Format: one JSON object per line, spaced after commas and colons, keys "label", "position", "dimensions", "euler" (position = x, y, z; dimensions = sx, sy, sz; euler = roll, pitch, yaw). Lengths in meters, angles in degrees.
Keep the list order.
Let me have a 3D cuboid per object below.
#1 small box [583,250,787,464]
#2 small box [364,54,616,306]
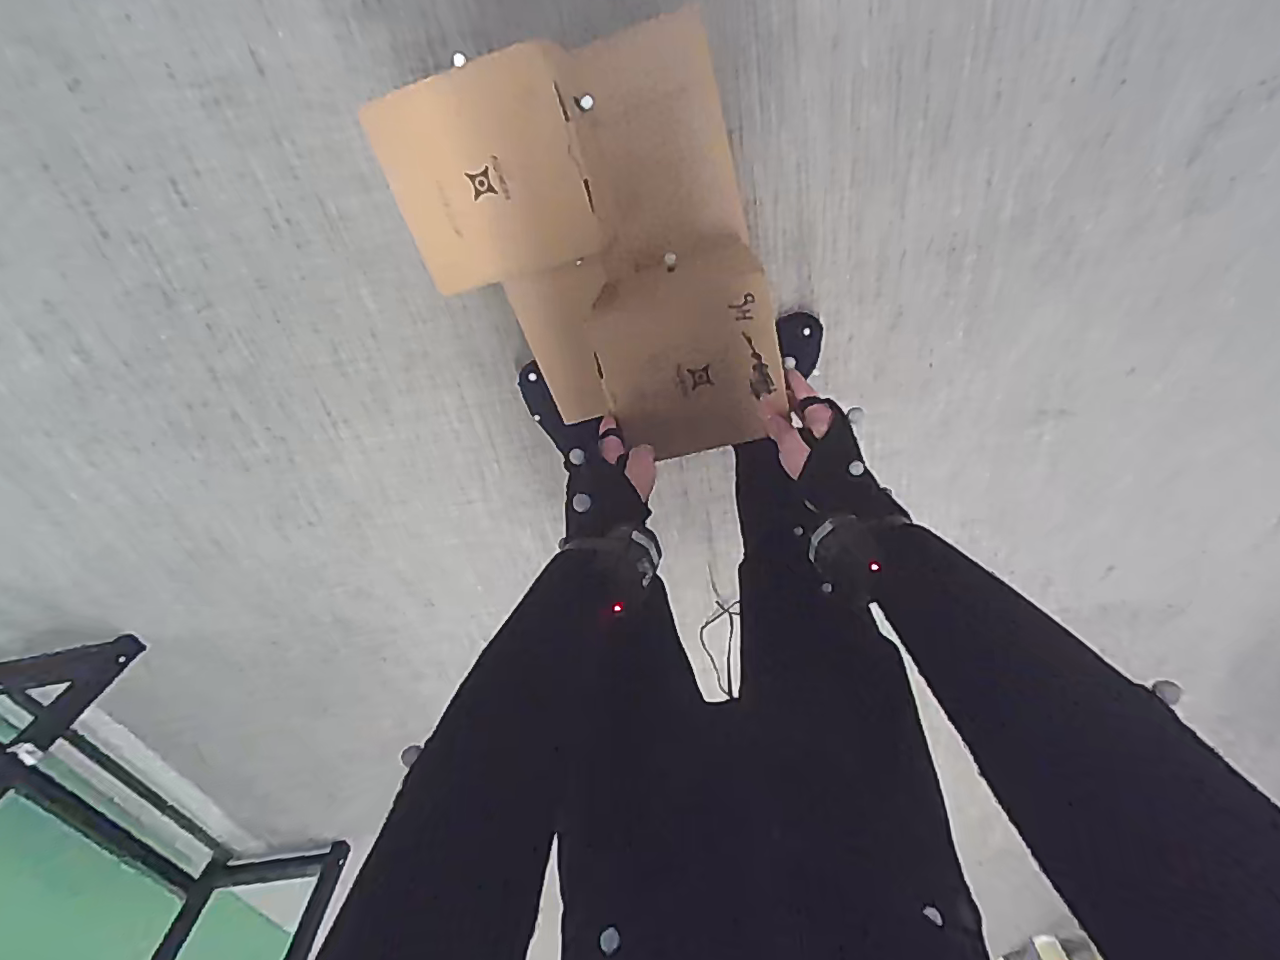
{"label": "small box", "position": [0.056, -0.142, 0.606], "dimensions": [0.179, 0.176, 0.168], "euler": [-12, 120, 13]}
{"label": "small box", "position": [-0.129, -0.300, 0.552], "dimensions": [0.179, 0.176, 0.168], "euler": [-12, 119, 12]}
